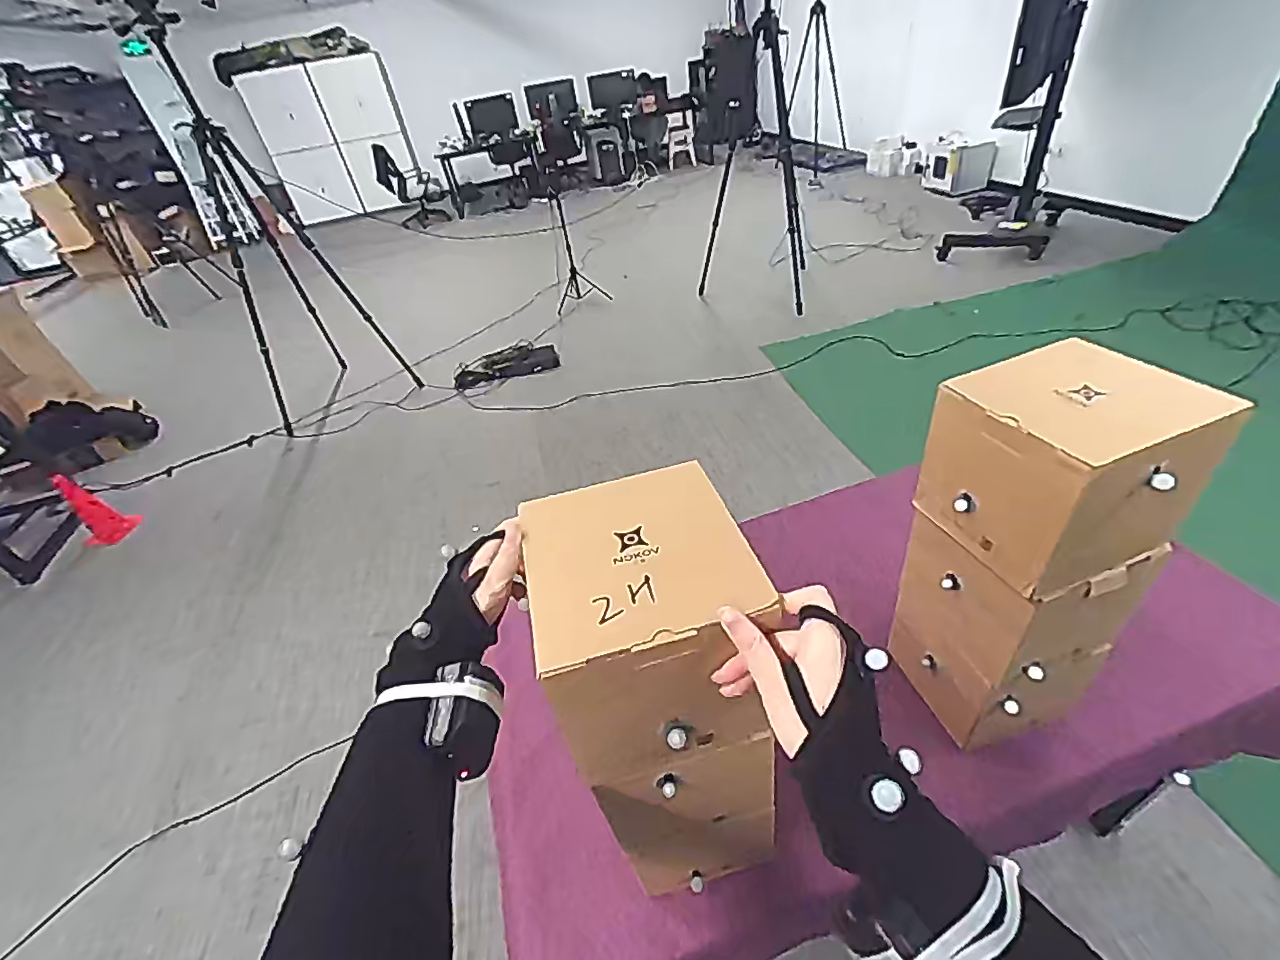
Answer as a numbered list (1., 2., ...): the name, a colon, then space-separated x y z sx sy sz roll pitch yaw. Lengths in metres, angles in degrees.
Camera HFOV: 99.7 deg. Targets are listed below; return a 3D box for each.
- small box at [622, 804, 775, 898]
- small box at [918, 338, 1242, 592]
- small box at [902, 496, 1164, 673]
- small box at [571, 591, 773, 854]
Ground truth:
1. small box: 0.059 0.382 0.682 0.168 0.176 0.179 -15 39 -4
2. small box: 0.420 -0.018 0.555 0.179 0.176 0.168 -20 39 -9
3. small box: 0.450 0.107 0.655 0.168 0.176 0.179 -18 38 -9
4. small box: 0.032 0.256 0.579 0.168 0.176 0.179 -16 38 -4
